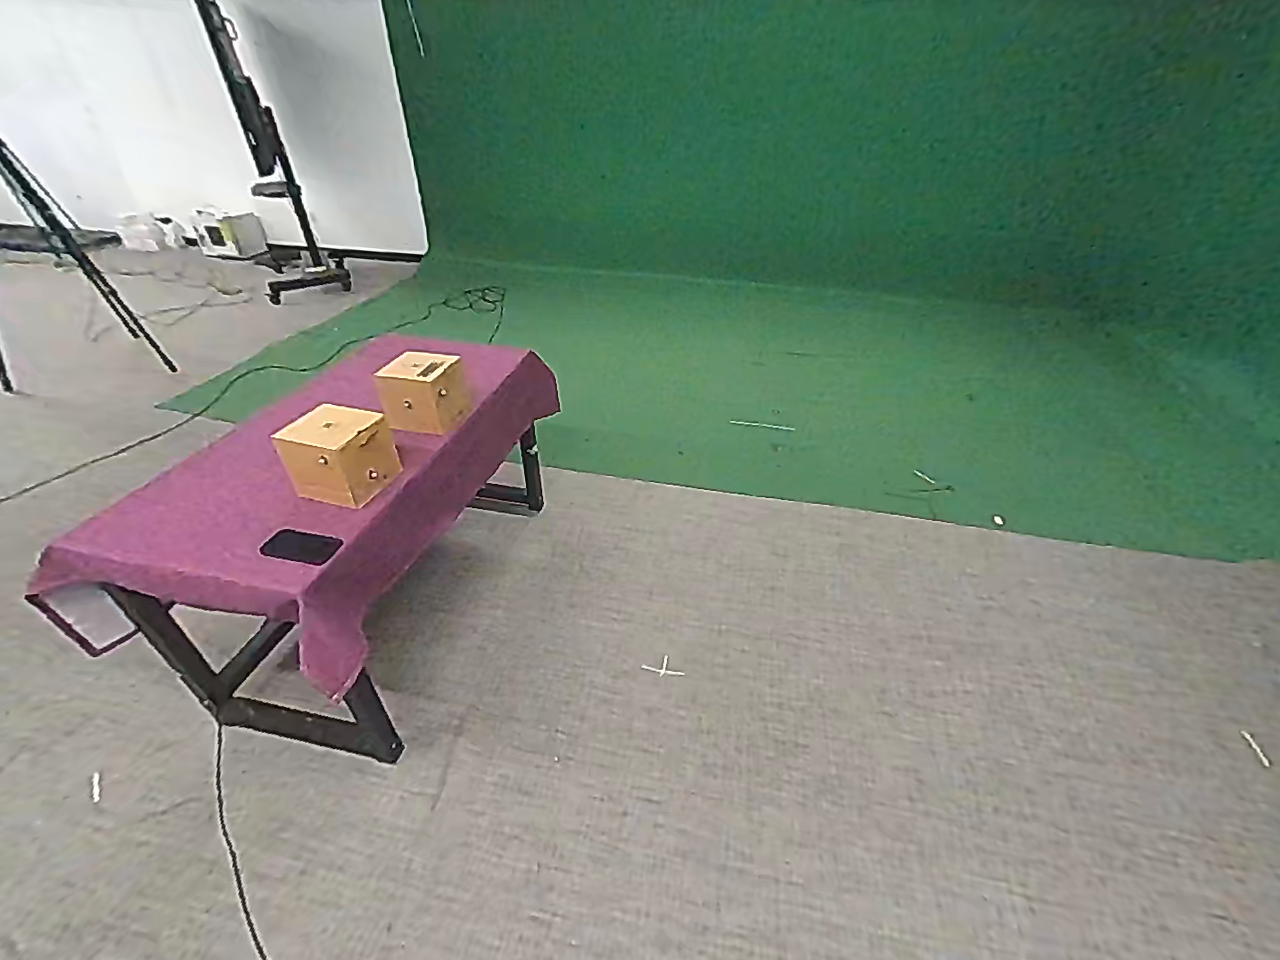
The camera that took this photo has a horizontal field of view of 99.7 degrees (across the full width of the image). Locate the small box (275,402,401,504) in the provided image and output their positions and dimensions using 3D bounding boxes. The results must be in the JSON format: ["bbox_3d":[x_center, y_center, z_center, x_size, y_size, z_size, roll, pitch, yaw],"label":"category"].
[{"bbox_3d":[-0.701,-0.064,1.275,0.179,0.176,0.168,12,38,12],"label":"small box"}]
